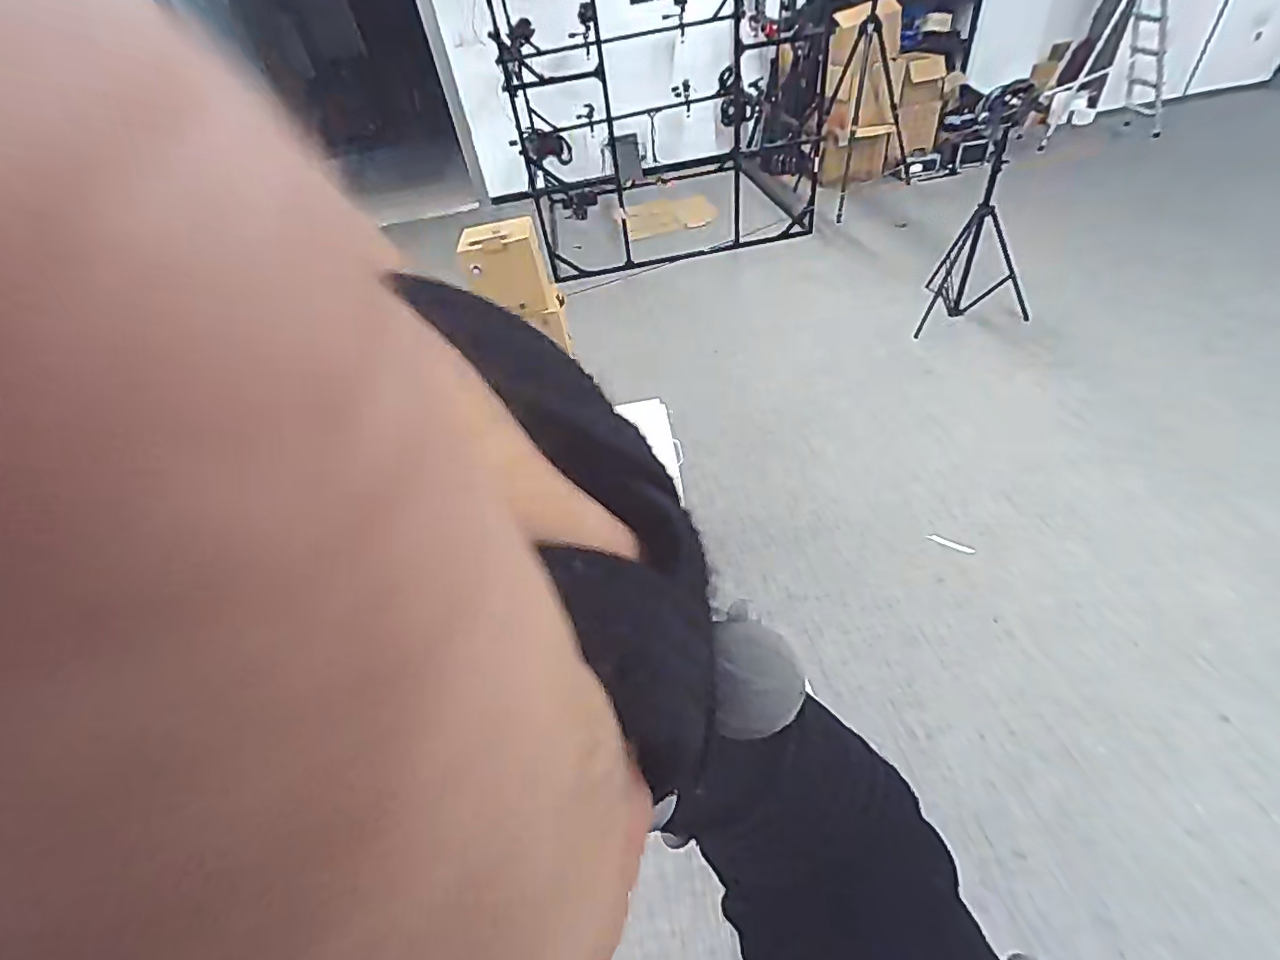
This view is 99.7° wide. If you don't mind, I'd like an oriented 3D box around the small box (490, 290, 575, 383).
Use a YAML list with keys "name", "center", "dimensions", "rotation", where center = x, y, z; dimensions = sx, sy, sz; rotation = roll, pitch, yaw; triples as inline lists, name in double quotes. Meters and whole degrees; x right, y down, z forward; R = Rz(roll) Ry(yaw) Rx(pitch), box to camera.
- name: "small box"
  center: [-0.274, -0.369, 1.405]
  dimensions: [0.179, 0.176, 0.168]
  rotation: [-10, 43, -1]
